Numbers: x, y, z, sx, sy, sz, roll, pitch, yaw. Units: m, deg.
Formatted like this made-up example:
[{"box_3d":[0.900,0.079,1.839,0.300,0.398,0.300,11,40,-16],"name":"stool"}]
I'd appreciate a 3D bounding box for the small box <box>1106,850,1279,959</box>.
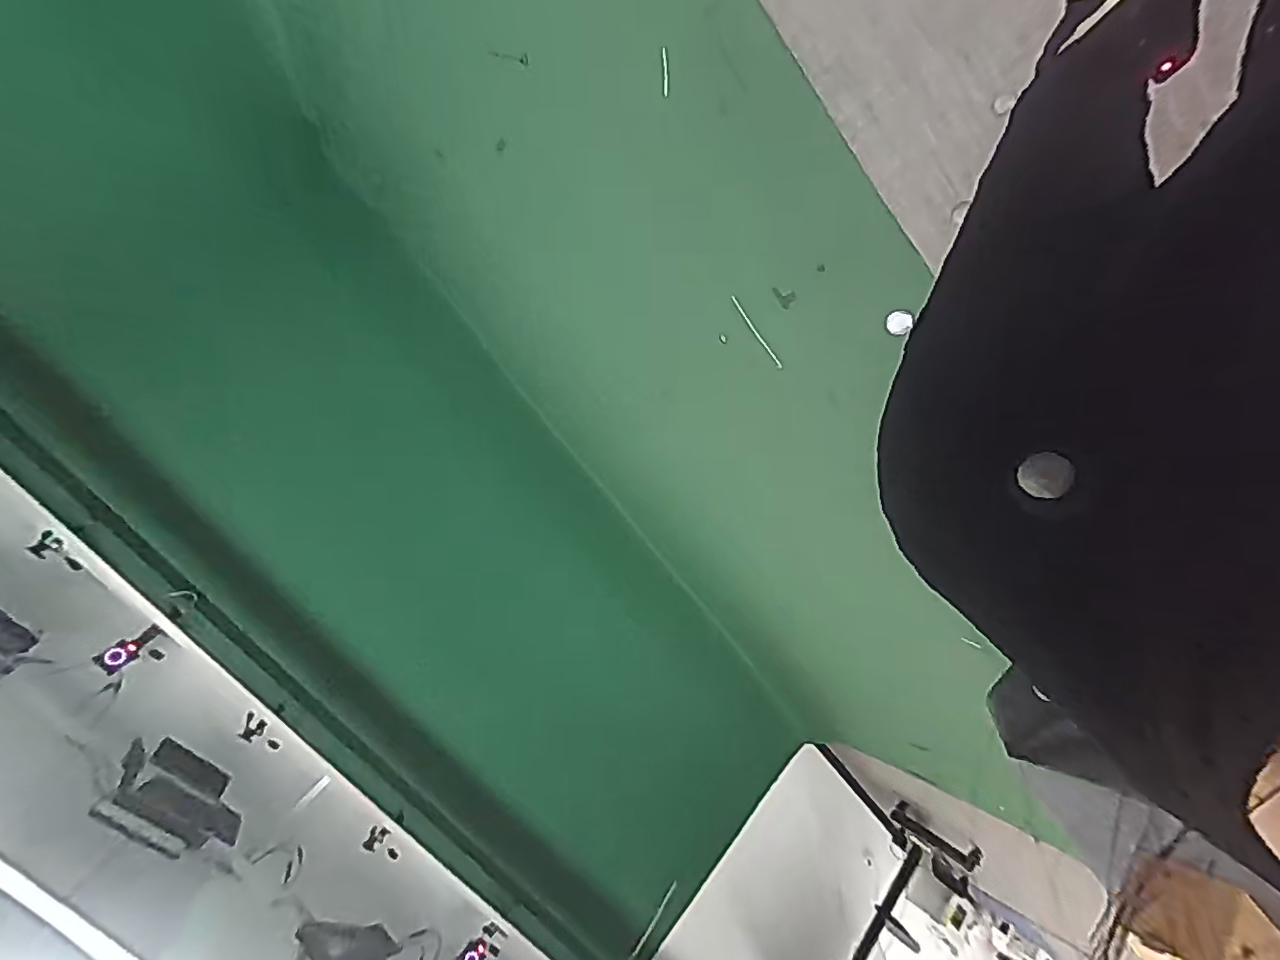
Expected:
[{"box_3d":[1.044,0.854,1.018,0.179,0.176,0.168,47,160,-5],"name":"small box"}]
